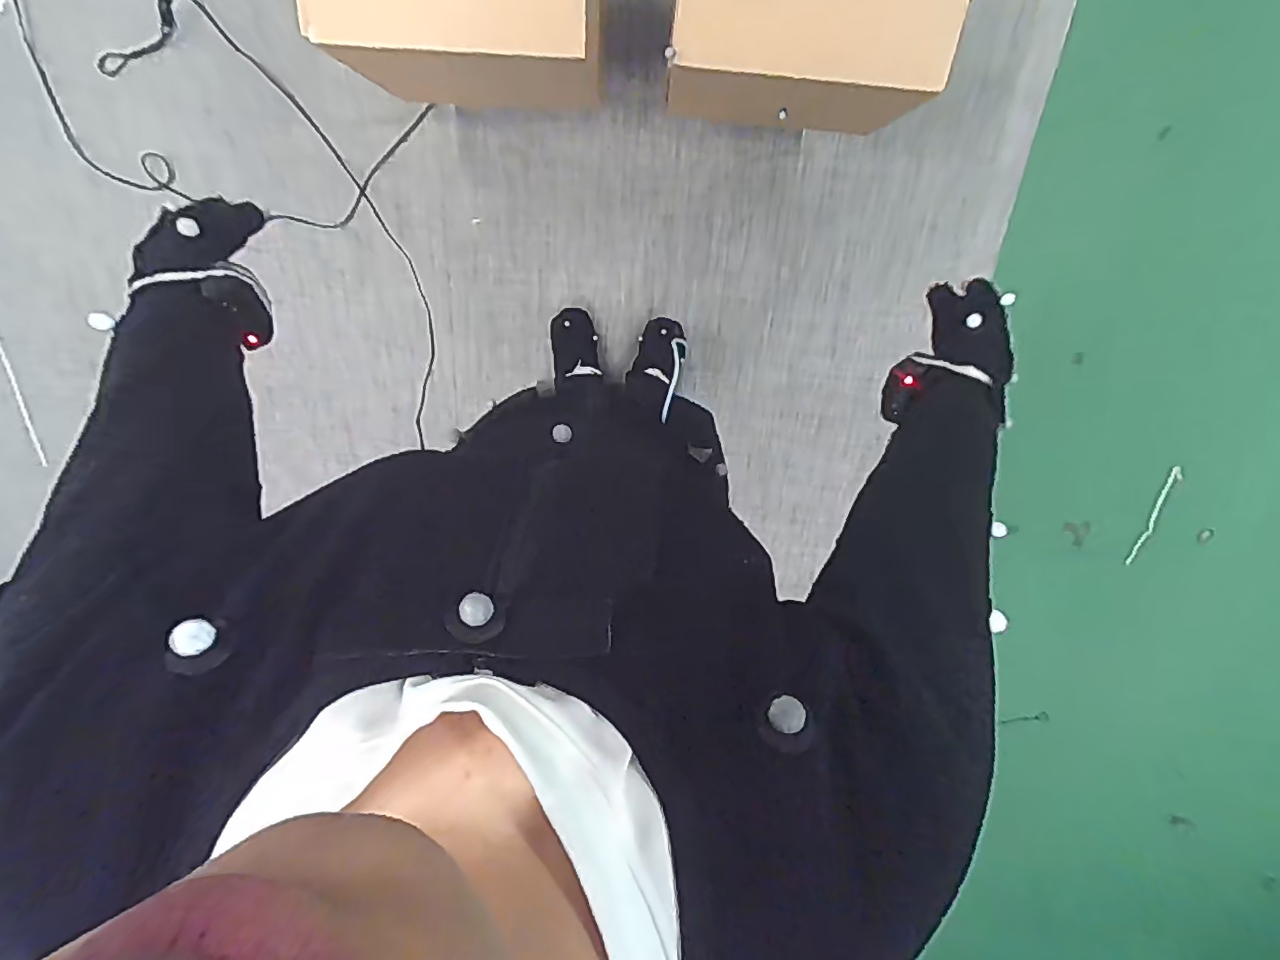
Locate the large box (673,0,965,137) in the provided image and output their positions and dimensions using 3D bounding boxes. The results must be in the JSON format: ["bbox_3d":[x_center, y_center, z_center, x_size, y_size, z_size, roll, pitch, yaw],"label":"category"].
[{"bbox_3d":[0.272,-0.782,0.888,0.408,0.320,0.320,6,112,-1],"label":"large box"}]
